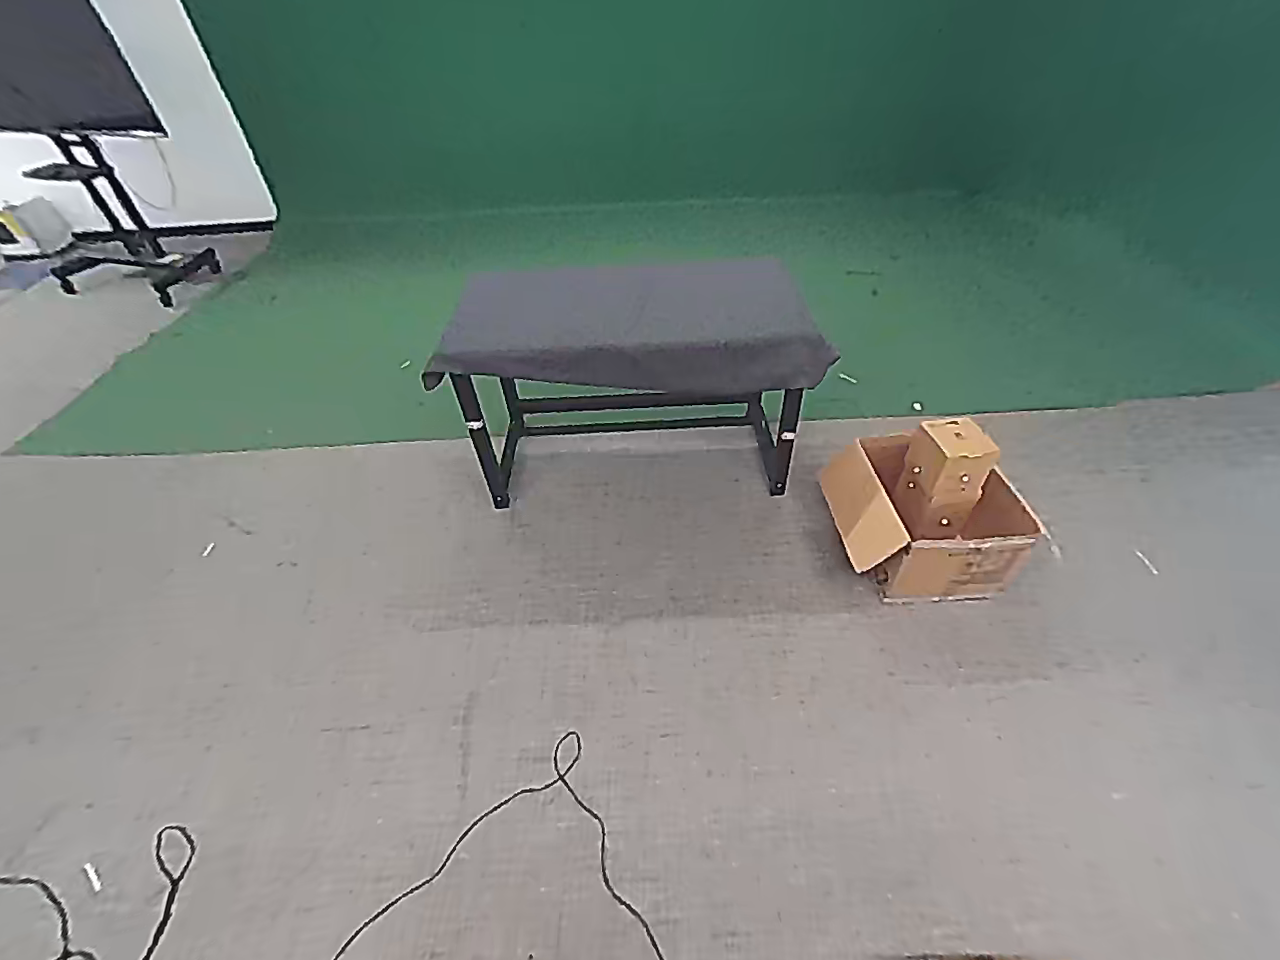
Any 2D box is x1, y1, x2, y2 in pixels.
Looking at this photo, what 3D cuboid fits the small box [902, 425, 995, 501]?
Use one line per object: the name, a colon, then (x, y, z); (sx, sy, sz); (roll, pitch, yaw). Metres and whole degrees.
small box: (0.964, -0.049, 1.708); (0.168, 0.176, 0.179); (-8, 43, -5)
